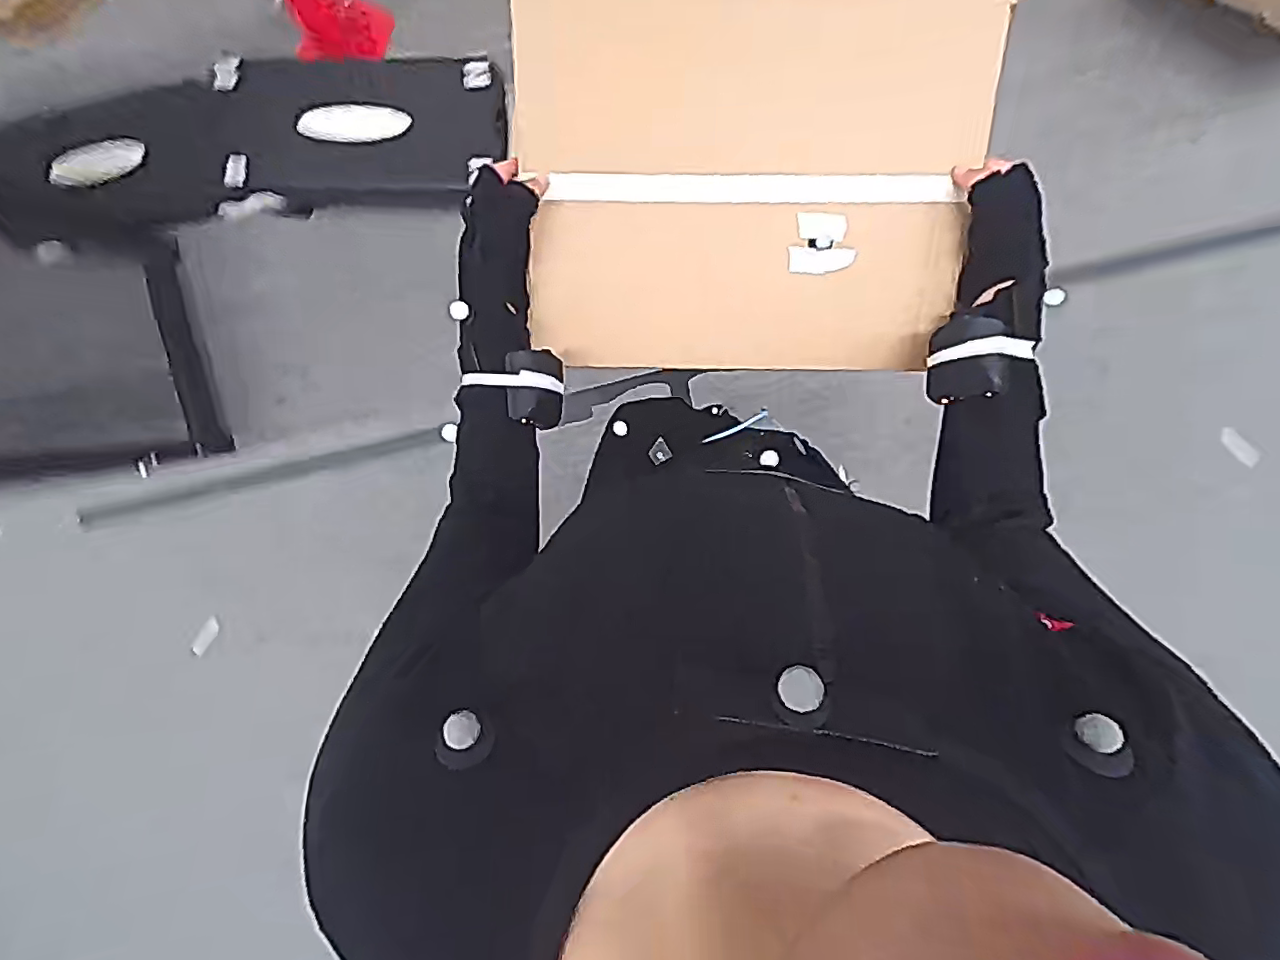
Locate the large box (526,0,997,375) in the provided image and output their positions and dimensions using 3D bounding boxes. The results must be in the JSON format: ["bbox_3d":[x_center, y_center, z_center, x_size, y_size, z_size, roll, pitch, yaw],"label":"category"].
[{"bbox_3d":[0.098,-0.297,0.635,0.408,0.320,0.320,1,108,-1],"label":"large box"}]
